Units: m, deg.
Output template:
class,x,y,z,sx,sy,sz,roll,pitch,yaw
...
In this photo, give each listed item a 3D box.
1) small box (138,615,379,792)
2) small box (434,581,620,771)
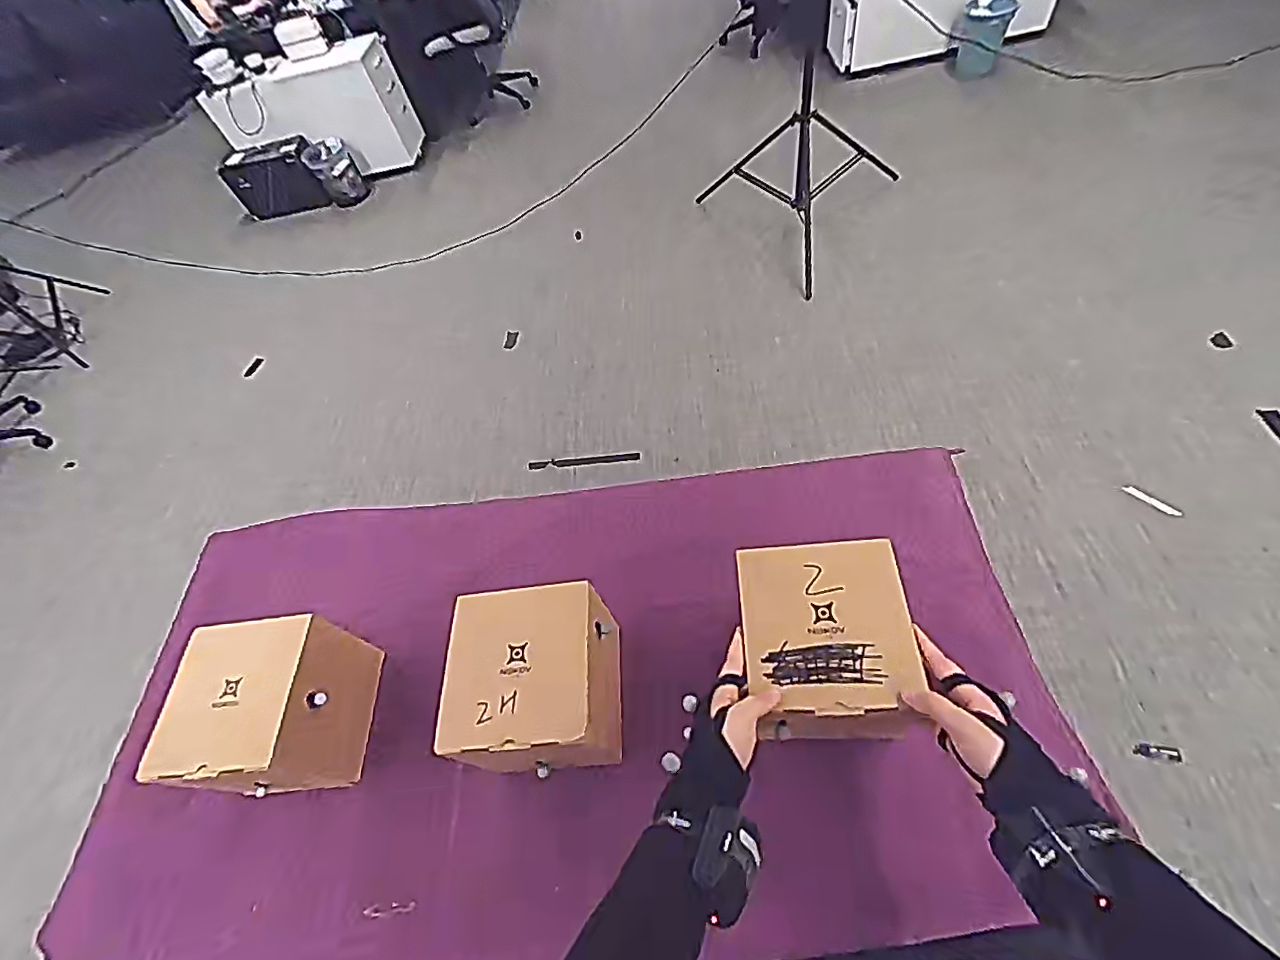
class,x,y,z,sx,sy,sz,roll,pitch,yaw
small box,-0.469,0.294,0.702,0.168,0.176,0.179,-8,56,6
small box,-0.122,0.243,0.659,0.168,0.176,0.179,-8,56,8
